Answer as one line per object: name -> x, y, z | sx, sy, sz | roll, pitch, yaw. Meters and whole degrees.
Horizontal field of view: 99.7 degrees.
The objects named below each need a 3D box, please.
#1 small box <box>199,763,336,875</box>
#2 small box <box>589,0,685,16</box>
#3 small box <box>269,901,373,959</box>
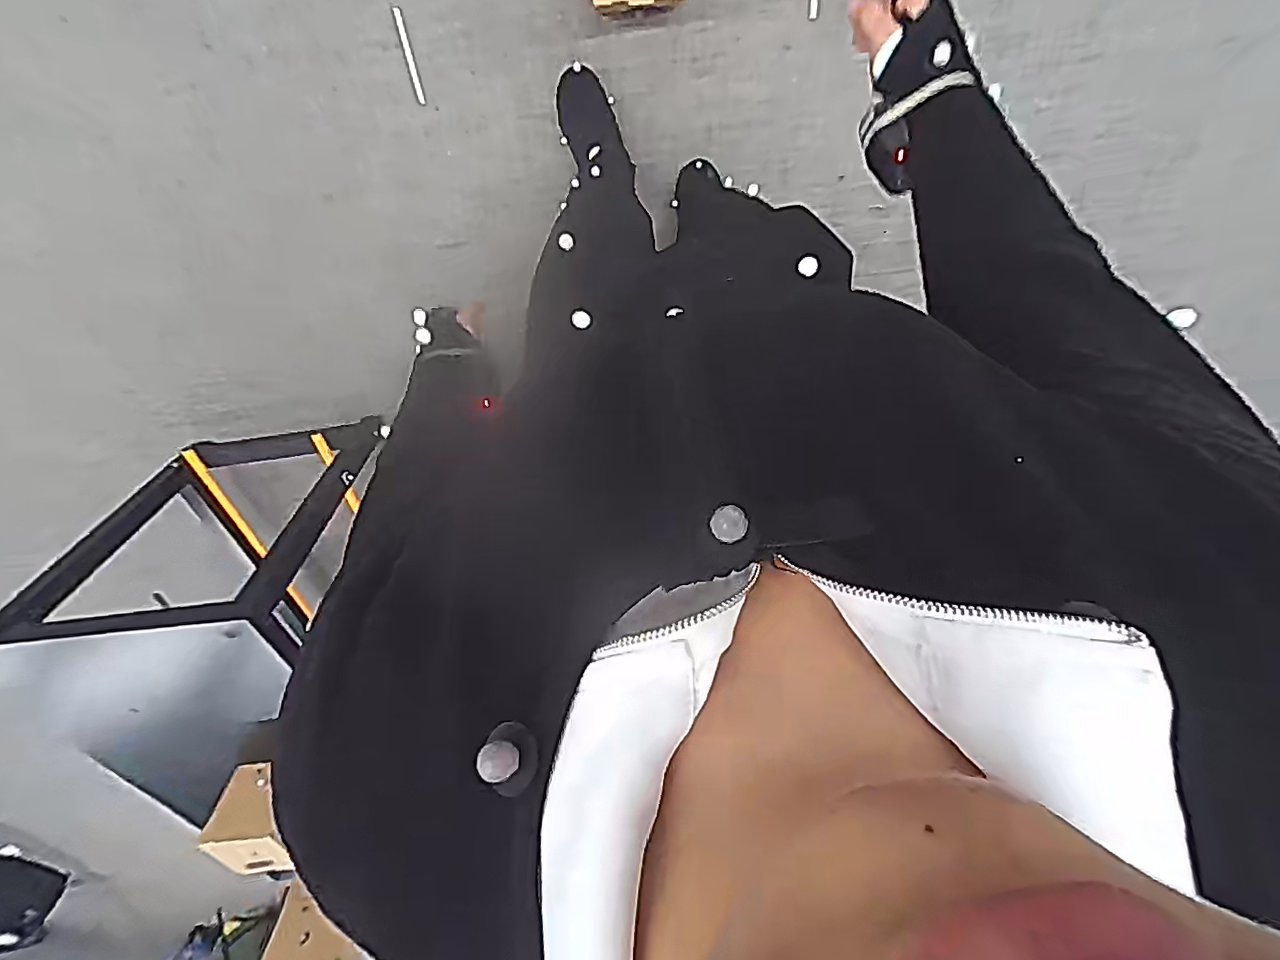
small box -> -0.848, 0.785, 1.256 | 0.168, 0.176, 0.179 | -6, 126, 2
small box -> -0.011, -0.918, 0.930 | 0.168, 0.176, 0.179 | -5, 128, 1
small box -> -0.799, 1.173, 1.346 | 0.168, 0.176, 0.179 | -4, 128, 1
